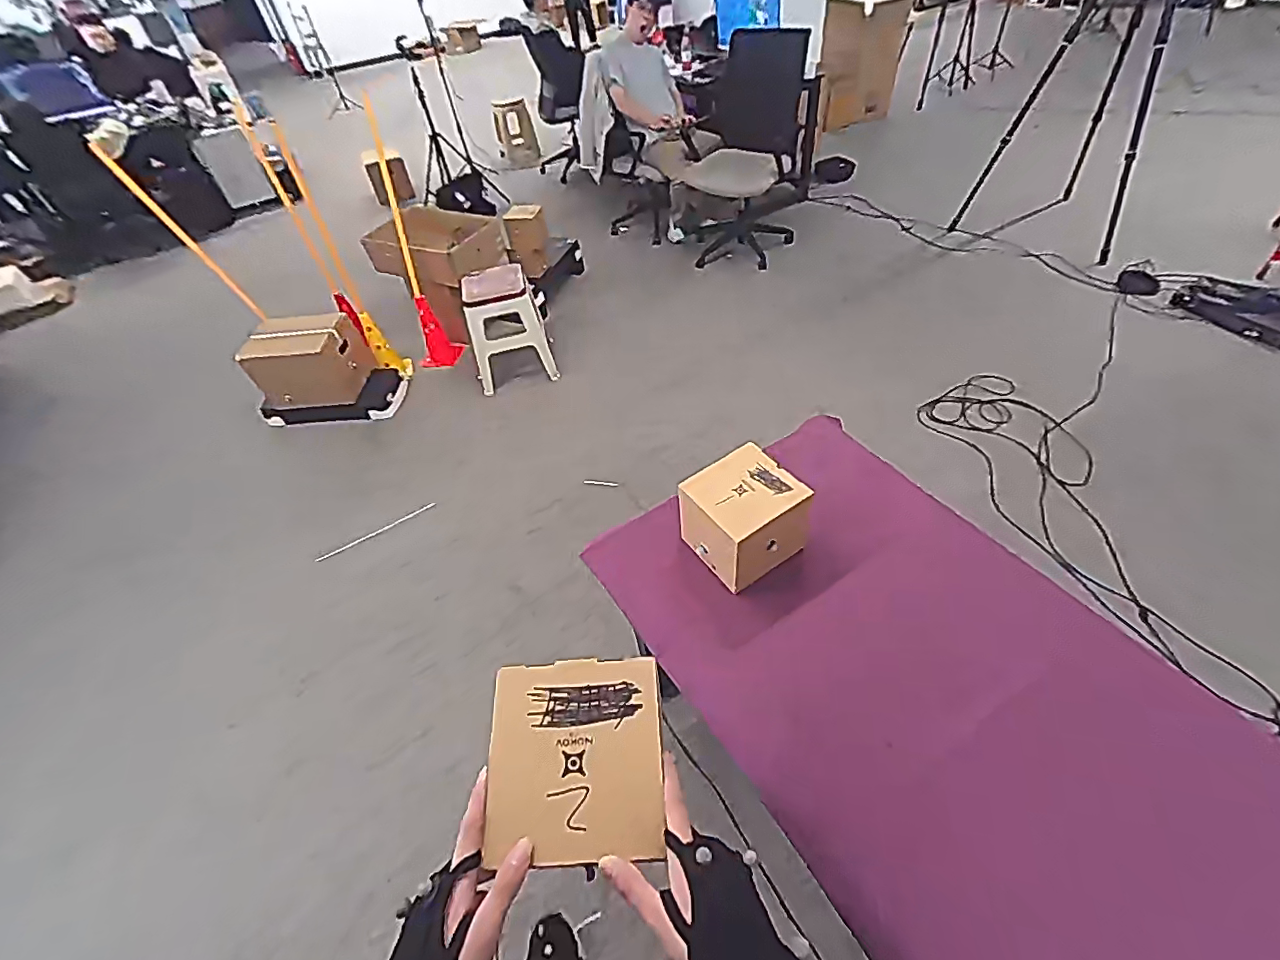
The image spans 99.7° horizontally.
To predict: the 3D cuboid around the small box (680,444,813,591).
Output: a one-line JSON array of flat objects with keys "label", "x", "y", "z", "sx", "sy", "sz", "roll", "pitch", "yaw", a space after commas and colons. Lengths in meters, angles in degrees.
[{"label": "small box", "x": 0.191, "y": 0.070, "z": 1.007, "sx": 0.179, "sy": 0.176, "sz": 0.168, "roll": -30, "pitch": 51, "yaw": -18}]
